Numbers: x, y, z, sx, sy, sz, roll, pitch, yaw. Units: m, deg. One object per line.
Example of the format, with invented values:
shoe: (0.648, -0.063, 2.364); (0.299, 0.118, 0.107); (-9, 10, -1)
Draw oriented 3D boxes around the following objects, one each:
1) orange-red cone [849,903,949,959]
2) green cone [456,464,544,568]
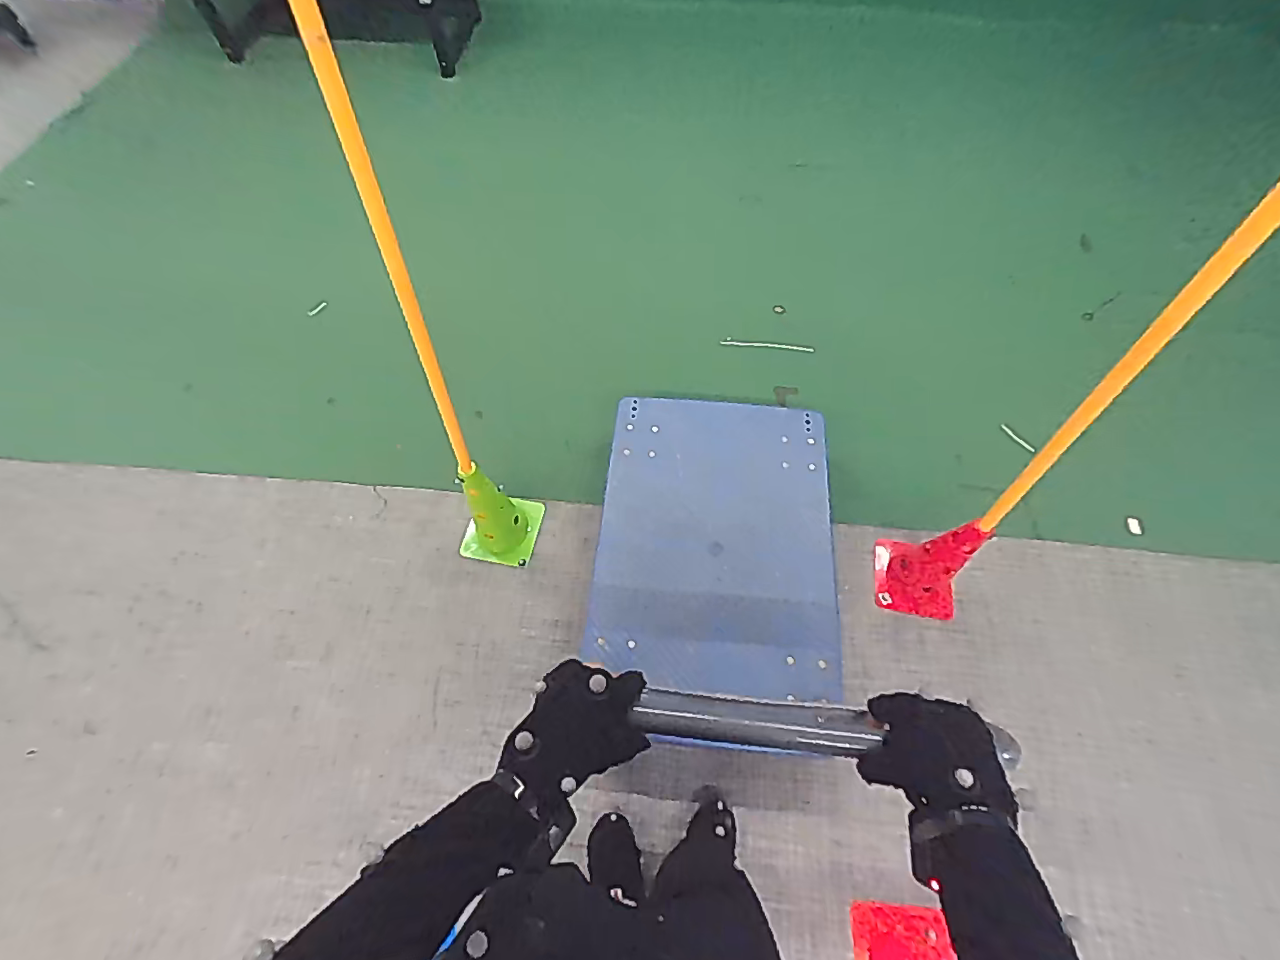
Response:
orange-red cone: (0.518, 0.897, 0.934); (0.199, 0.360, 0.198); (4, 61, 5)
green cone: (-0.394, 0.063, 1.397); (0.202, 0.368, 0.200); (9, 61, 6)
